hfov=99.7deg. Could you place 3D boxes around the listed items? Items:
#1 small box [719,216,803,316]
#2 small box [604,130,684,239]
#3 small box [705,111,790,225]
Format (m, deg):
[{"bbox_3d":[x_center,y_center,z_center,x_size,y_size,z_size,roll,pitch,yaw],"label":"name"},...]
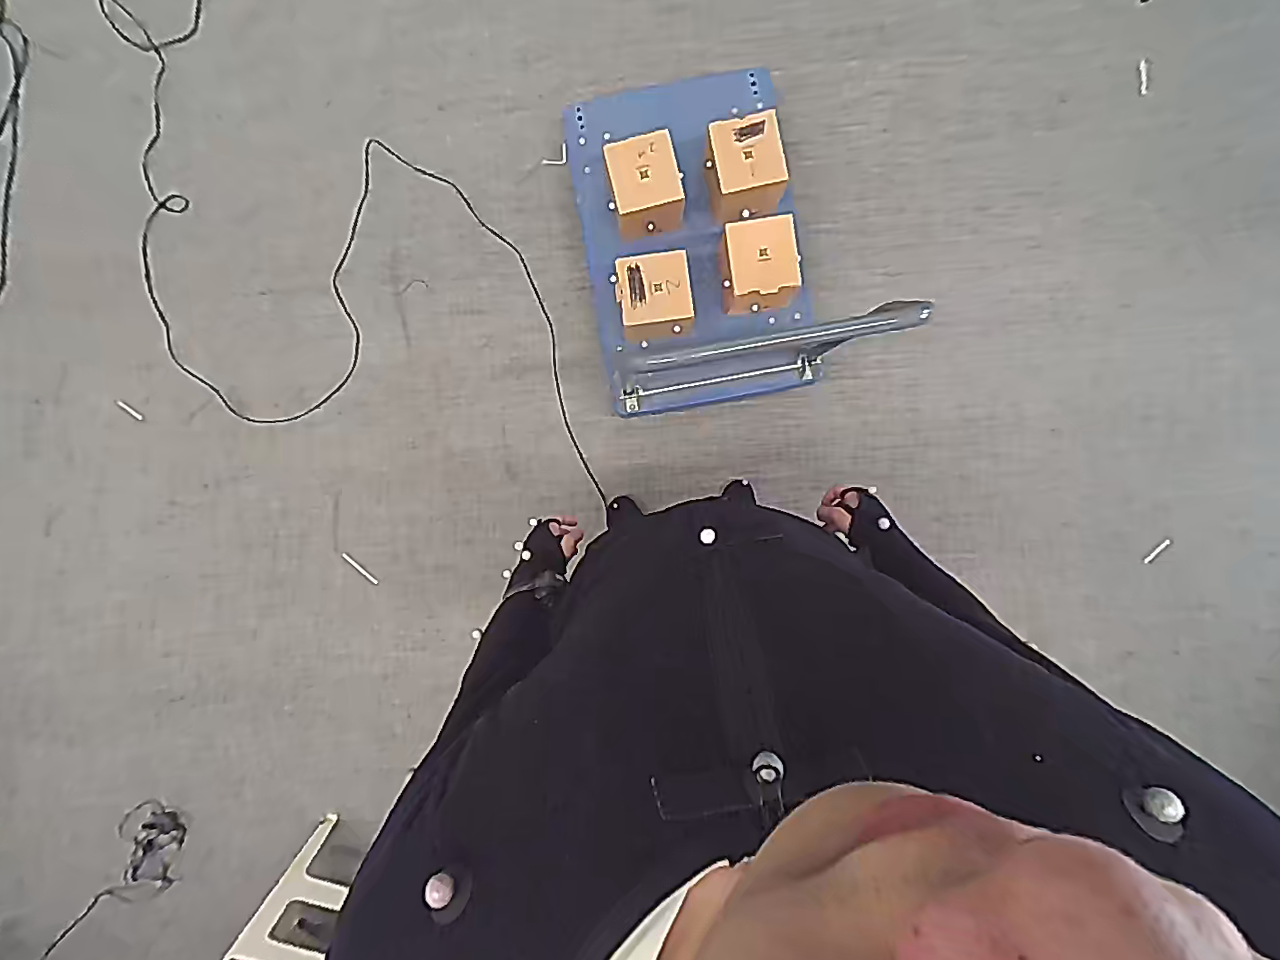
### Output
[{"bbox_3d":[0.300,-0.539,1.376,0.168,0.176,0.179,-8,89,2],"label":"small box"},{"bbox_3d":[0.013,-0.740,1.379,0.168,0.176,0.179,-13,90,1],"label":"small box"},{"bbox_3d":[0.264,-0.785,1.373,0.168,0.176,0.179,-12,91,2],"label":"small box"}]
